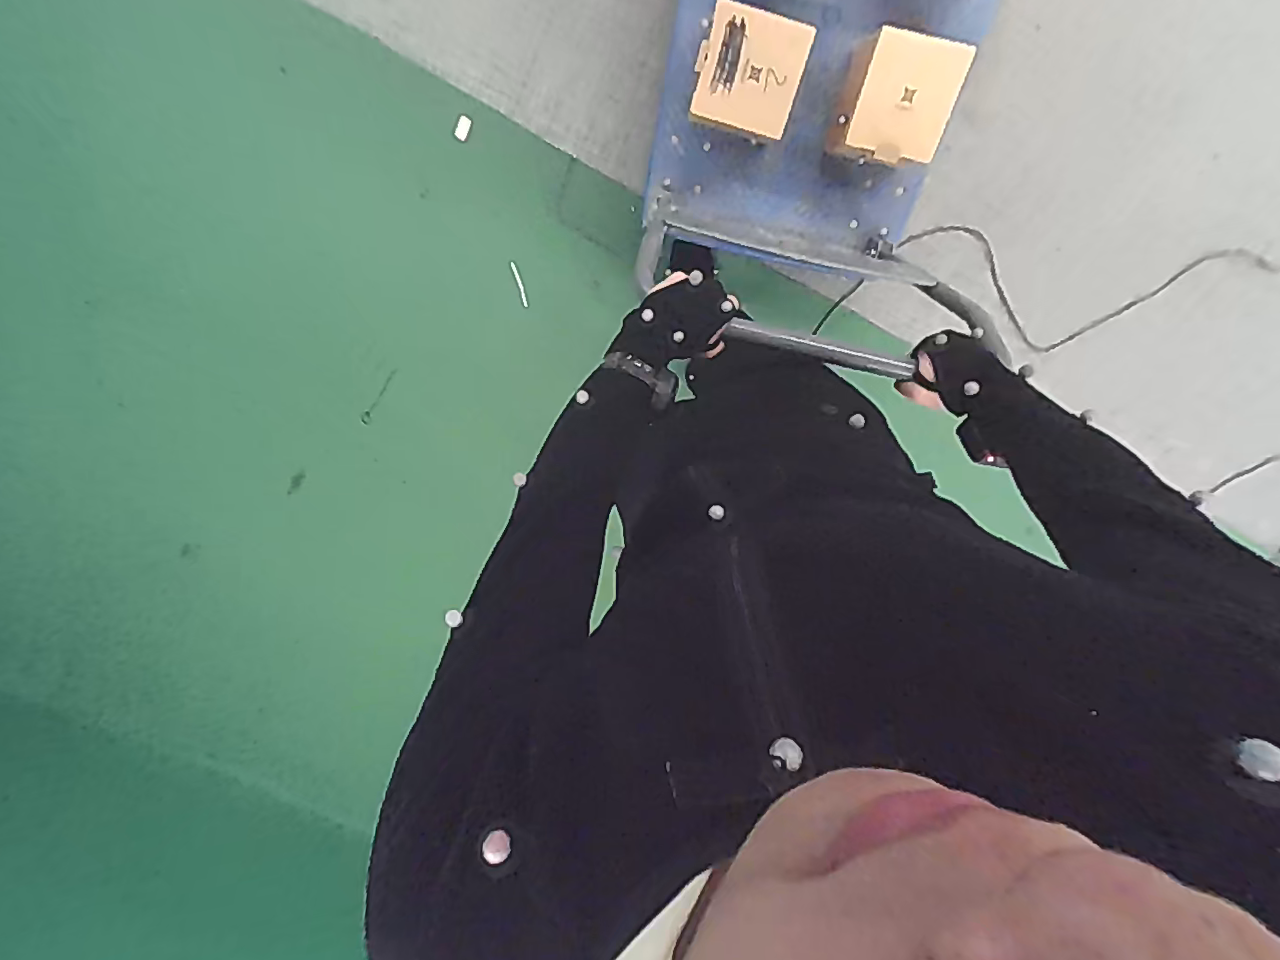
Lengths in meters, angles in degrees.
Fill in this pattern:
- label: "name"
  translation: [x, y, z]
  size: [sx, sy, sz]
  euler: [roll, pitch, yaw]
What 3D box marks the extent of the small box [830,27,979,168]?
- label: "small box"
  translation: [0.475, -0.698, 1.006]
  size: [0.168, 0.176, 0.179]
  euler: [12, 121, -2]
